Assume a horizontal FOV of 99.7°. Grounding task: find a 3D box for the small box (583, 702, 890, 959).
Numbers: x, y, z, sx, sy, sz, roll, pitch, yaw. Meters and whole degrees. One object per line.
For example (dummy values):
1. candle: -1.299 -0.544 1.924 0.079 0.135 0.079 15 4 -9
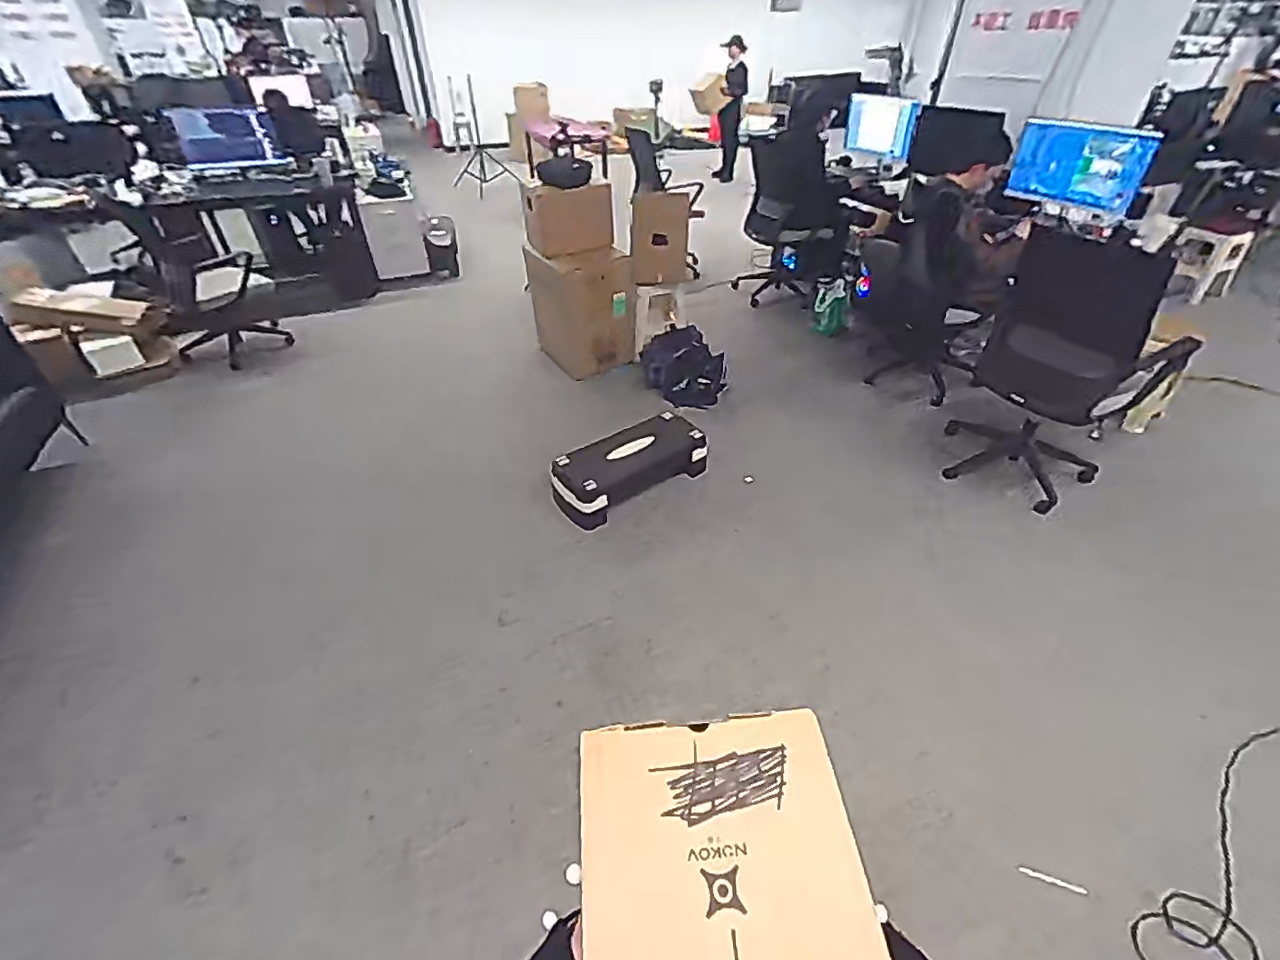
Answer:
1. small box: 0.050 0.278 0.376 0.168 0.176 0.179 -5 48 -2
